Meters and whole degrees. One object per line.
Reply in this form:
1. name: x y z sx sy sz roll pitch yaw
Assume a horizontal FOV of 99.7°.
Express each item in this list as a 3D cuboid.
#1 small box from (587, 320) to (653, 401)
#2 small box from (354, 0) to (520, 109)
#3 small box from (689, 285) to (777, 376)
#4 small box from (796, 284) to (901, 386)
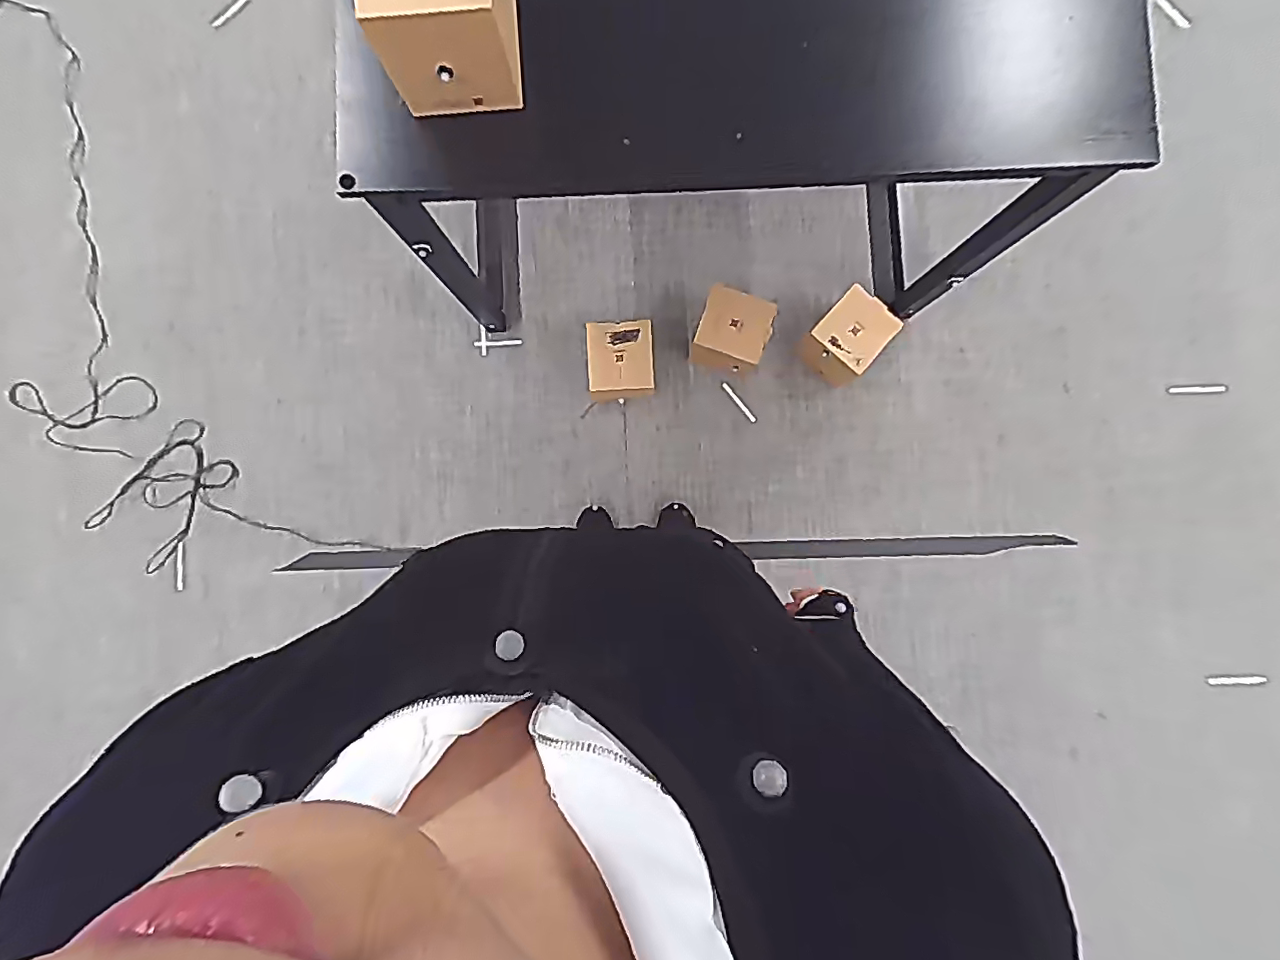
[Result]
1. small box: -0.052 -0.313 1.443 0.168 0.176 0.179 -3 89 1
2. small box: -0.262 -0.633 0.725 0.168 0.176 0.179 -4 87 0
3. small box: 0.240 -0.390 1.444 0.179 0.176 0.168 19 88 2
4. small box: 0.543 -0.378 1.438 0.168 0.176 0.179 42 89 2
